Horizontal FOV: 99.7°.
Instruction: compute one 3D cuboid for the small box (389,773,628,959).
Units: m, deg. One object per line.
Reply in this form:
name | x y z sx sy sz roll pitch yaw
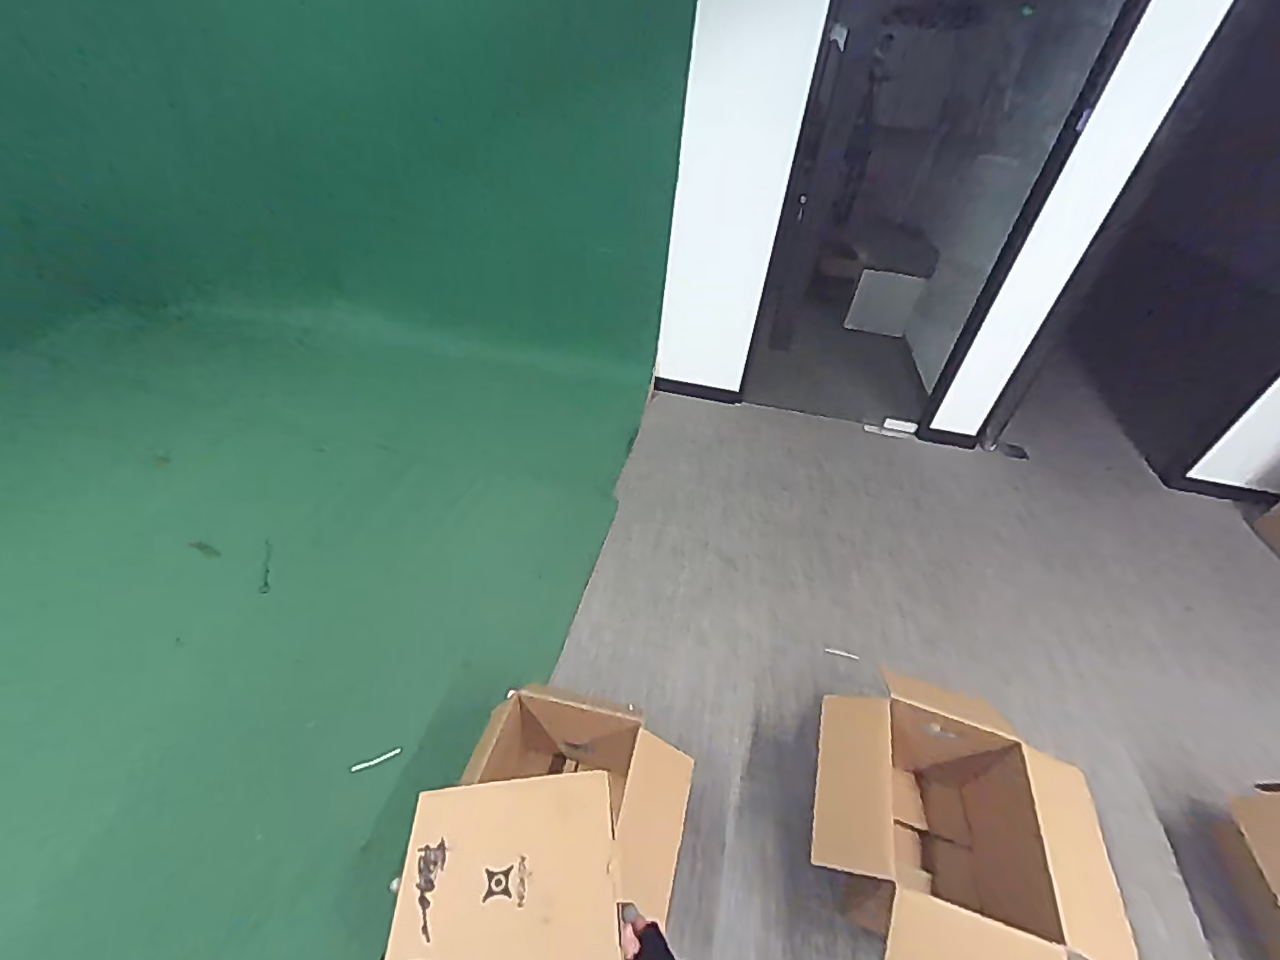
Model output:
small box | -0.105 0.393 0.483 0.179 0.176 0.168 -2 33 -6
